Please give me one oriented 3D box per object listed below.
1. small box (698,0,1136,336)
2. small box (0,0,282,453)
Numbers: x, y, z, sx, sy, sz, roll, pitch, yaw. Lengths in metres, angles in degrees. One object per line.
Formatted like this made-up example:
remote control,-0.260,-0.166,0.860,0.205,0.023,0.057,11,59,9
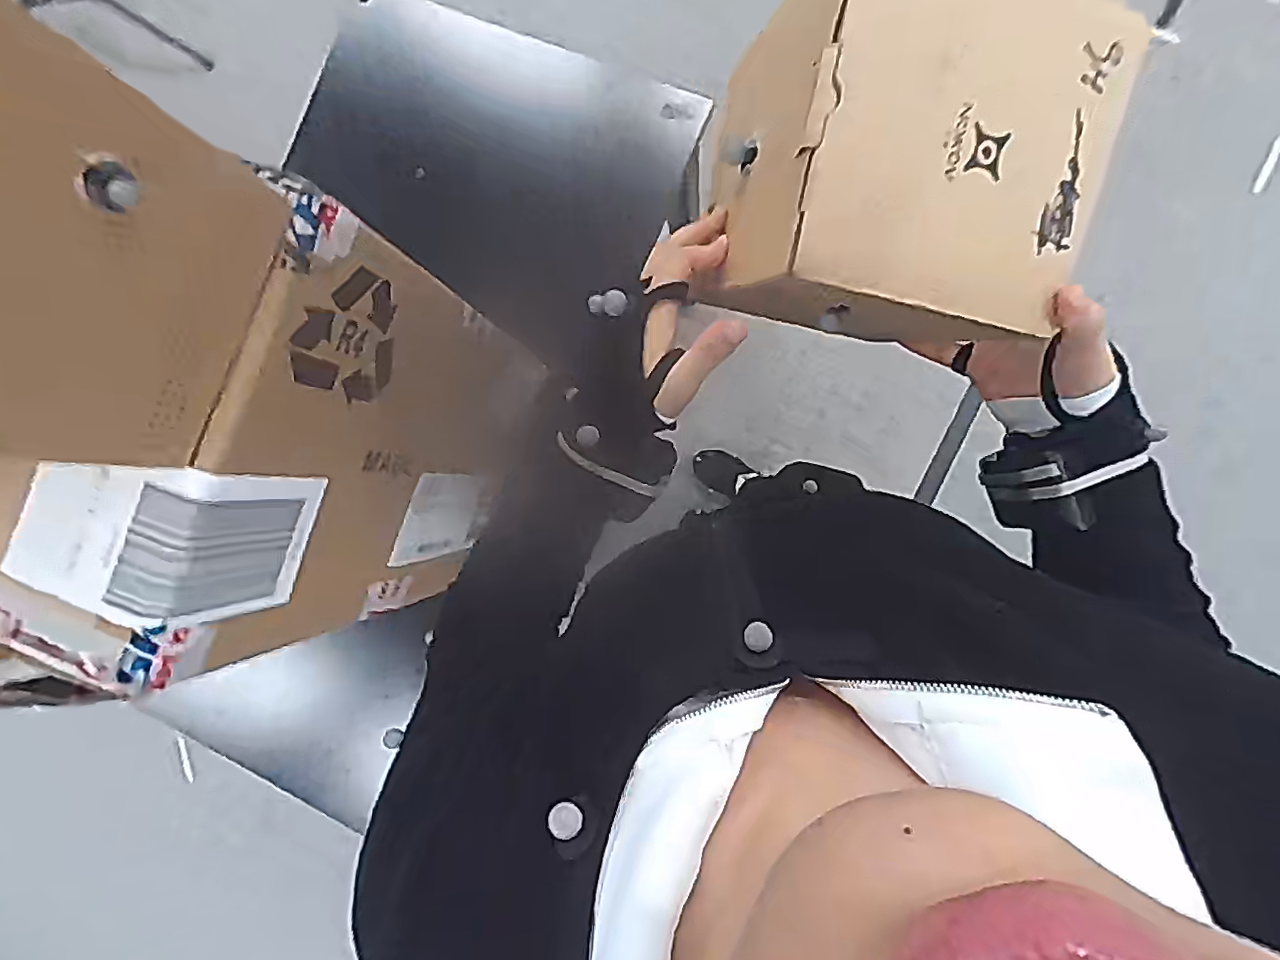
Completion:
small box,0.152,-0.194,0.362,0.179,0.176,0.168,8,102,-13
small box,-0.318,-0.124,0.256,0.168,0.176,0.179,22,91,7
